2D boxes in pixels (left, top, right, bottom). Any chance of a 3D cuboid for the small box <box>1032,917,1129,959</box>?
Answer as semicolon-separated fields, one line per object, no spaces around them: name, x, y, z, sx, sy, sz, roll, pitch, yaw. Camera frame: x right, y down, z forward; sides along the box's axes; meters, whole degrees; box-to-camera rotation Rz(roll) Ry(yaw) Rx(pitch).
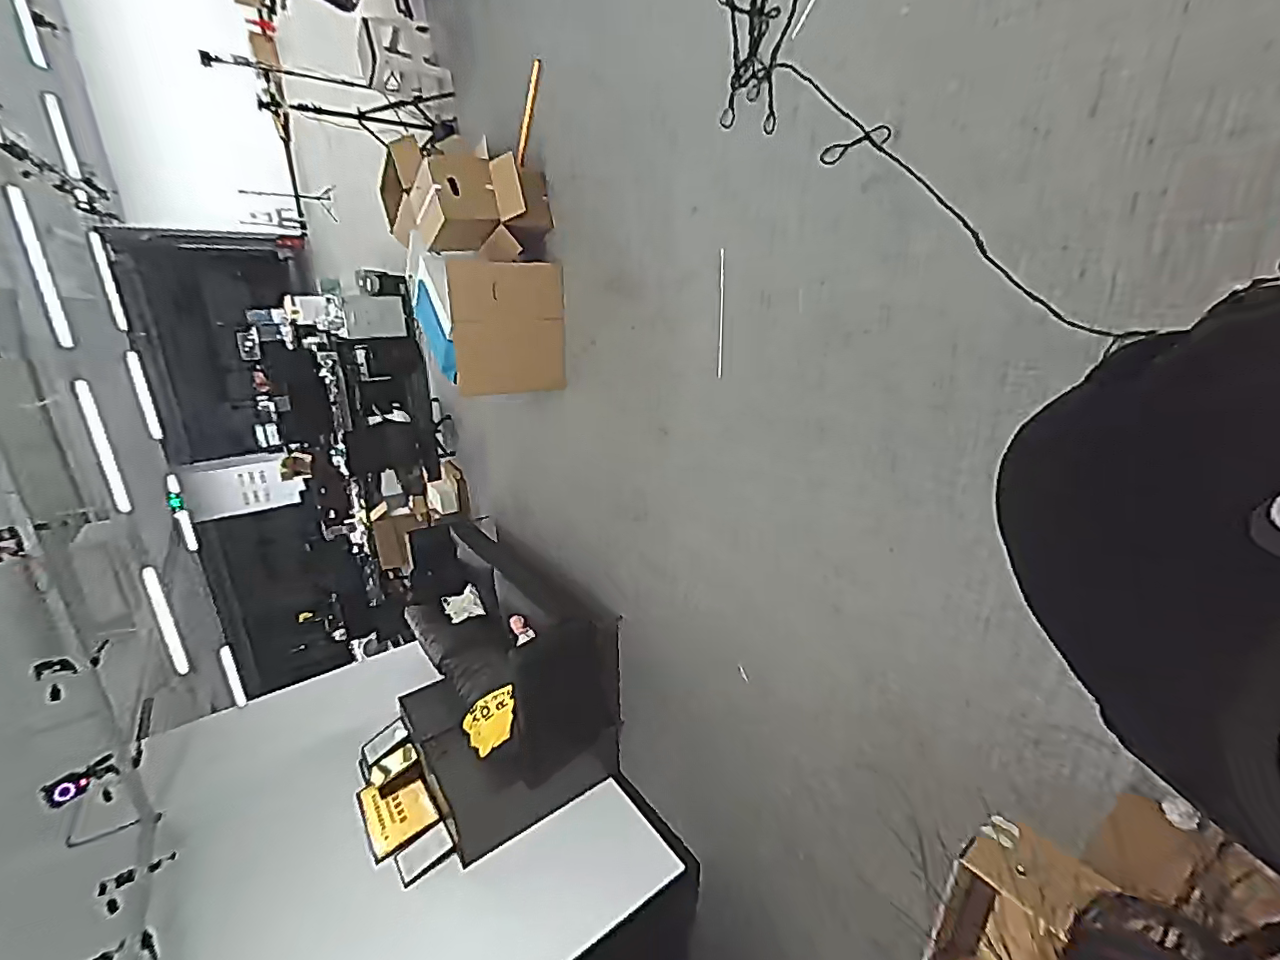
small box;0.854;0.999;1.026;0.168;0.176;0.179;7;107;53
